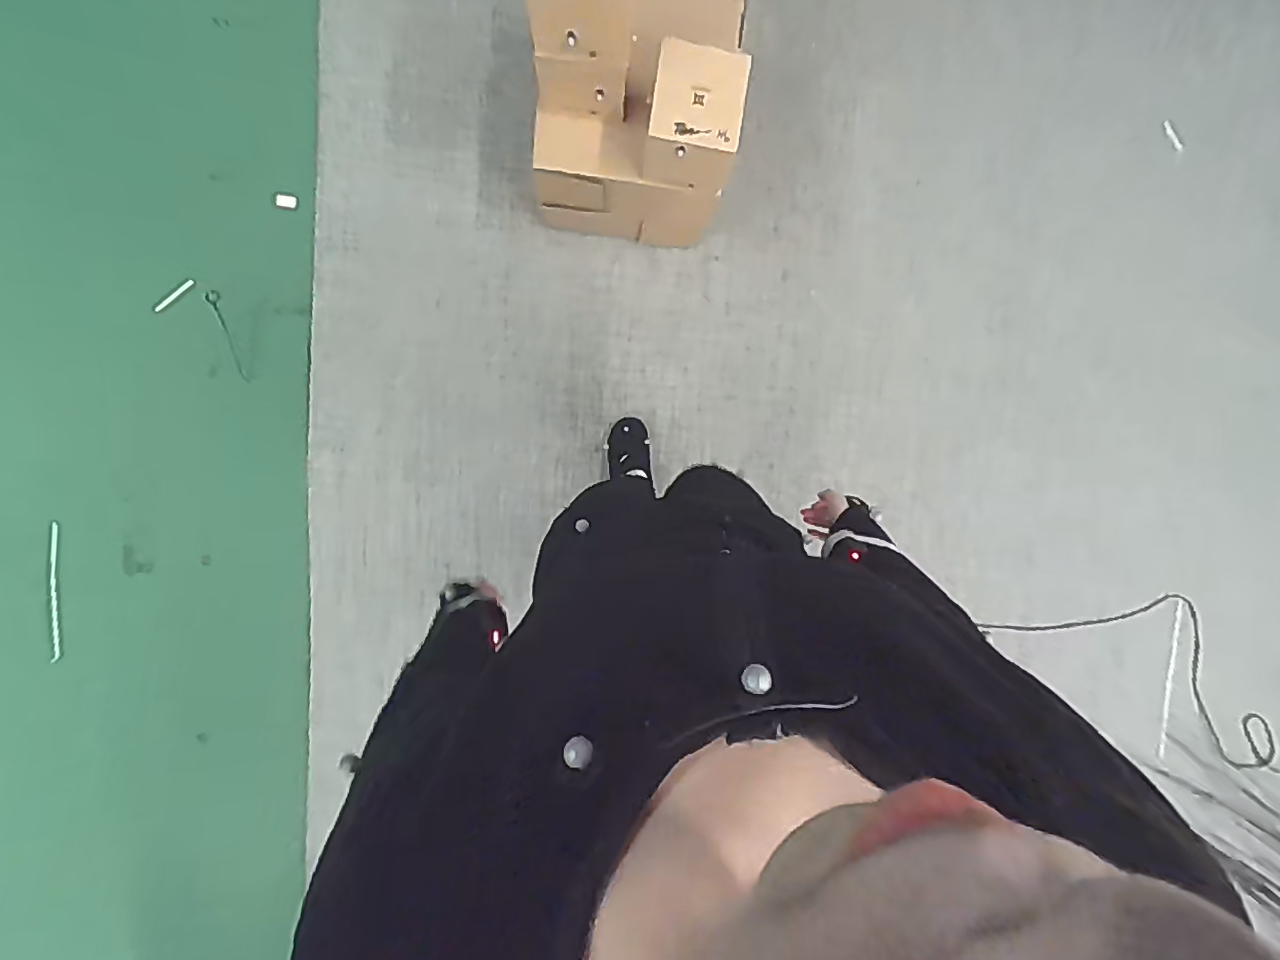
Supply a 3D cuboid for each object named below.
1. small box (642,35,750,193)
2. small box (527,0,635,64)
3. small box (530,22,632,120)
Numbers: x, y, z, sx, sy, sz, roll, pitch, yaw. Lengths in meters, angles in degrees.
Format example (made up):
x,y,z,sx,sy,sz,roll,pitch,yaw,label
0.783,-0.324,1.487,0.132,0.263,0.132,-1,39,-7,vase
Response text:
x,y,z,sx,sy,sz,roll,pitch,yaw,label
0.099,-0.693,1.043,0.168,0.176,0.179,8,92,-4,small box
-0.091,-0.821,0.864,0.168,0.176,0.179,7,95,-3,small box
-0.105,-0.827,1.027,0.168,0.176,0.179,7,92,-3,small box
